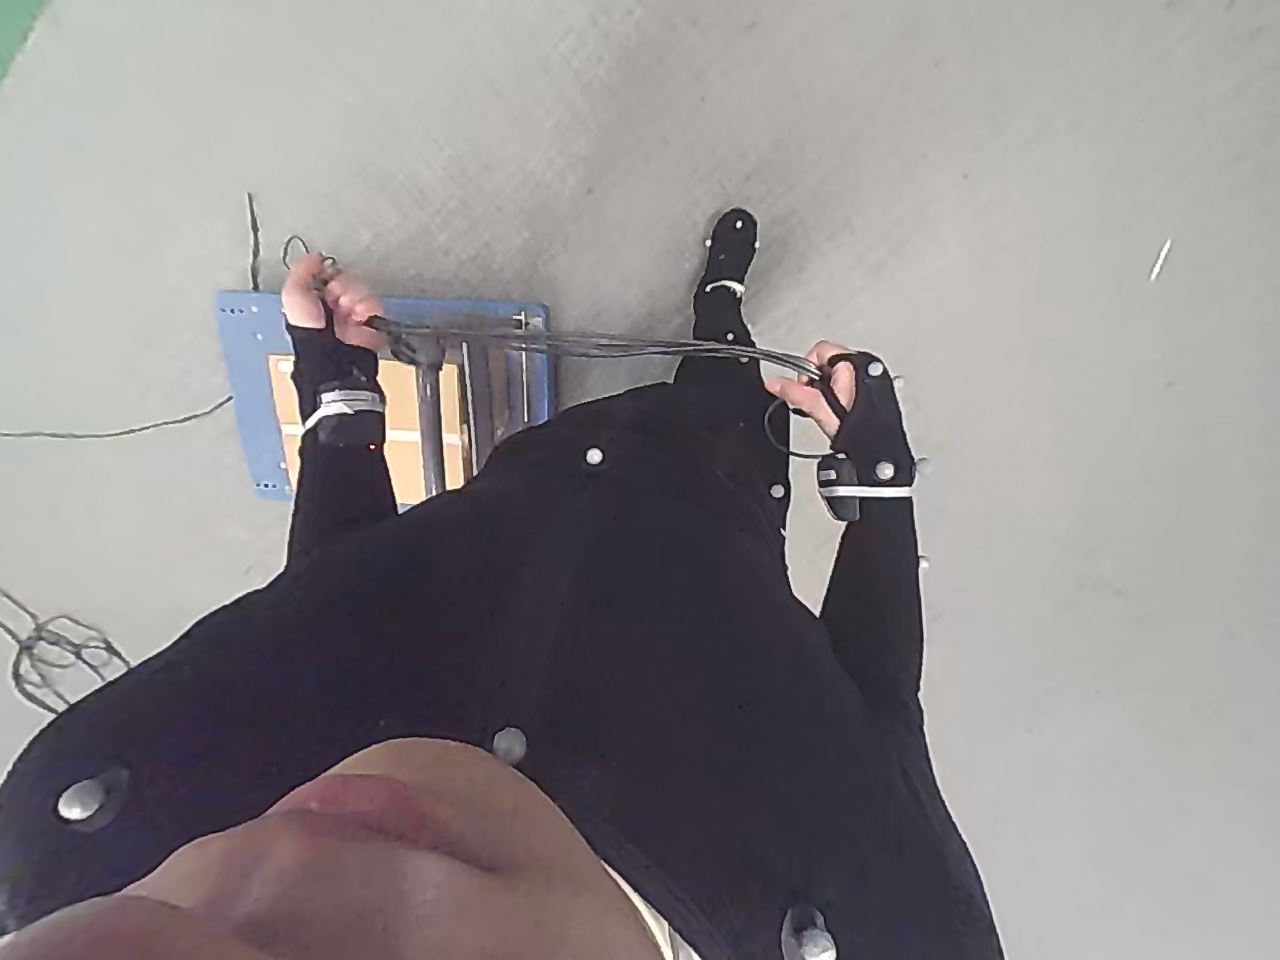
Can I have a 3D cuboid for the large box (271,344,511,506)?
[{"bbox_3d":[-0.551,-0.148,1.279,0.408,0.320,0.320,4,108,5],"label":"large box"}]
